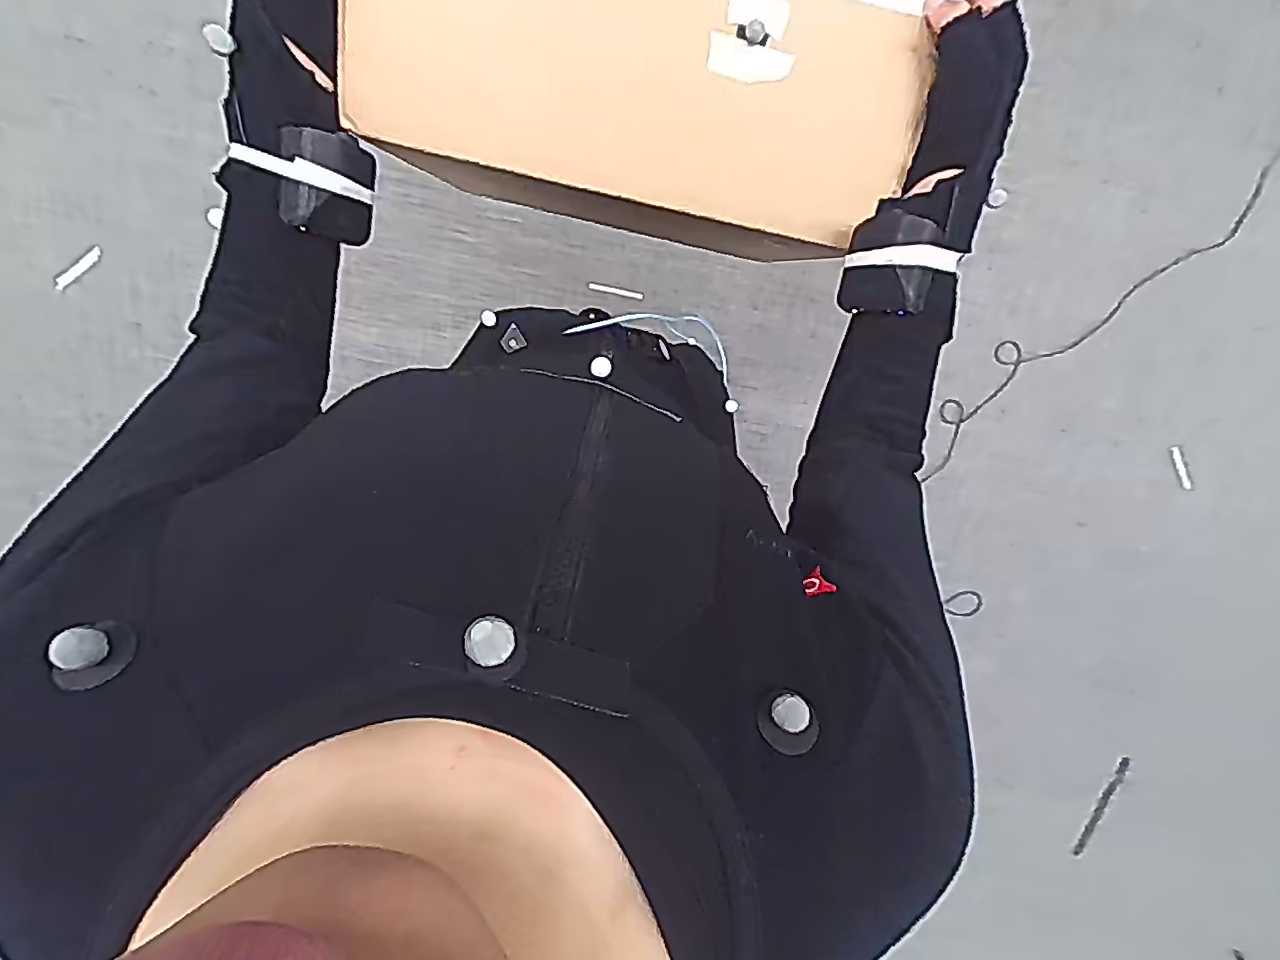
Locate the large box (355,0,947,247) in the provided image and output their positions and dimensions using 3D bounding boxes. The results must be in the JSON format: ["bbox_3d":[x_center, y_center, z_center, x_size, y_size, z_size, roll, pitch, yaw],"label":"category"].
[{"bbox_3d":[0.009,-0.418,0.492,0.408,0.320,0.320,9,112,-8],"label":"large box"}]
